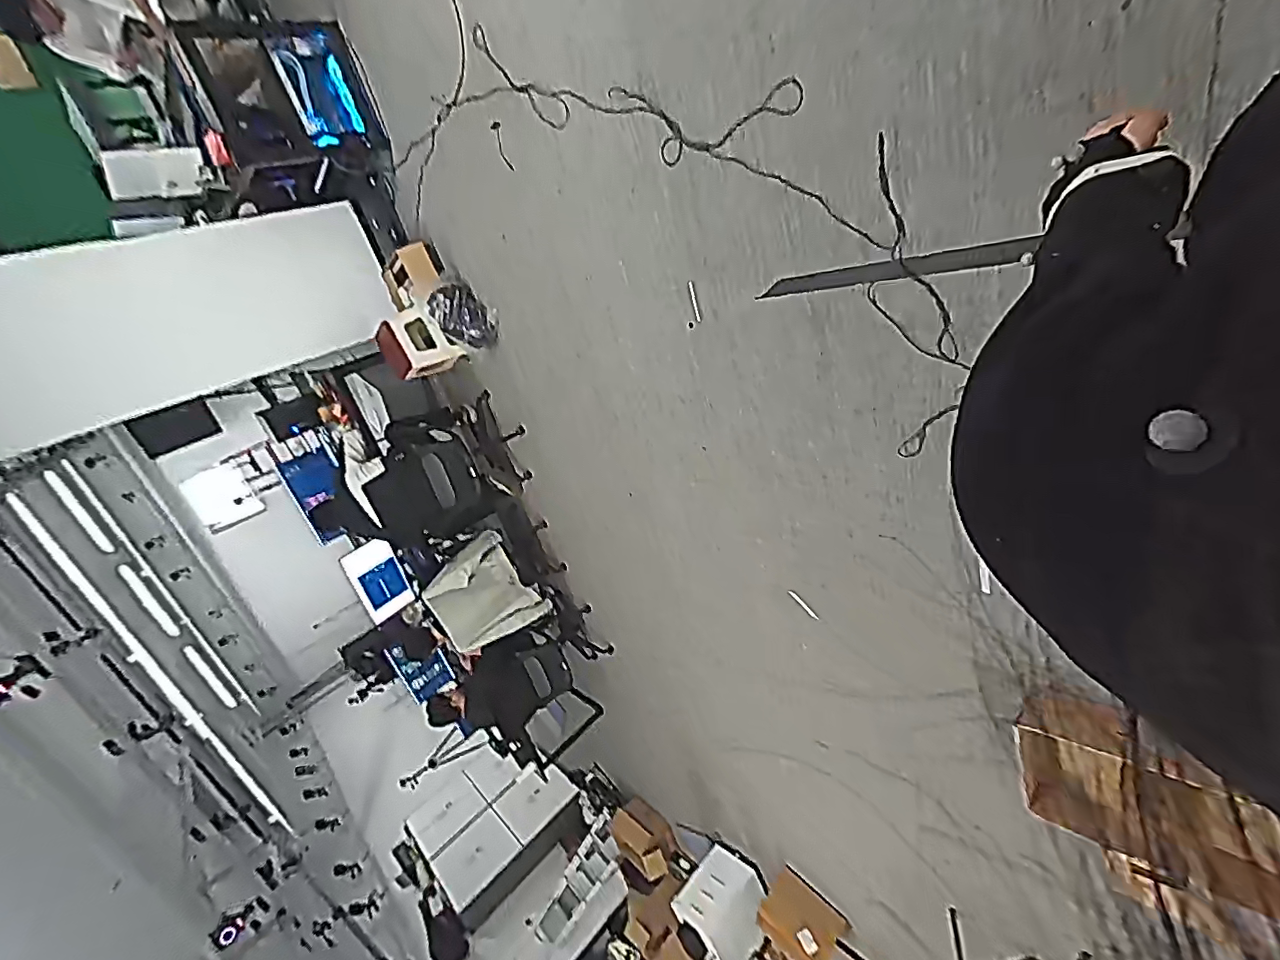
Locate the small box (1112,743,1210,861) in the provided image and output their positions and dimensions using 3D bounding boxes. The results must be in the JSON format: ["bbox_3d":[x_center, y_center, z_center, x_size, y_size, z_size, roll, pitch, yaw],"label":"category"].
[{"bbox_3d":[1.405,0.858,1.455,0.168,0.176,0.179,-2,116,52],"label":"small box"}]
